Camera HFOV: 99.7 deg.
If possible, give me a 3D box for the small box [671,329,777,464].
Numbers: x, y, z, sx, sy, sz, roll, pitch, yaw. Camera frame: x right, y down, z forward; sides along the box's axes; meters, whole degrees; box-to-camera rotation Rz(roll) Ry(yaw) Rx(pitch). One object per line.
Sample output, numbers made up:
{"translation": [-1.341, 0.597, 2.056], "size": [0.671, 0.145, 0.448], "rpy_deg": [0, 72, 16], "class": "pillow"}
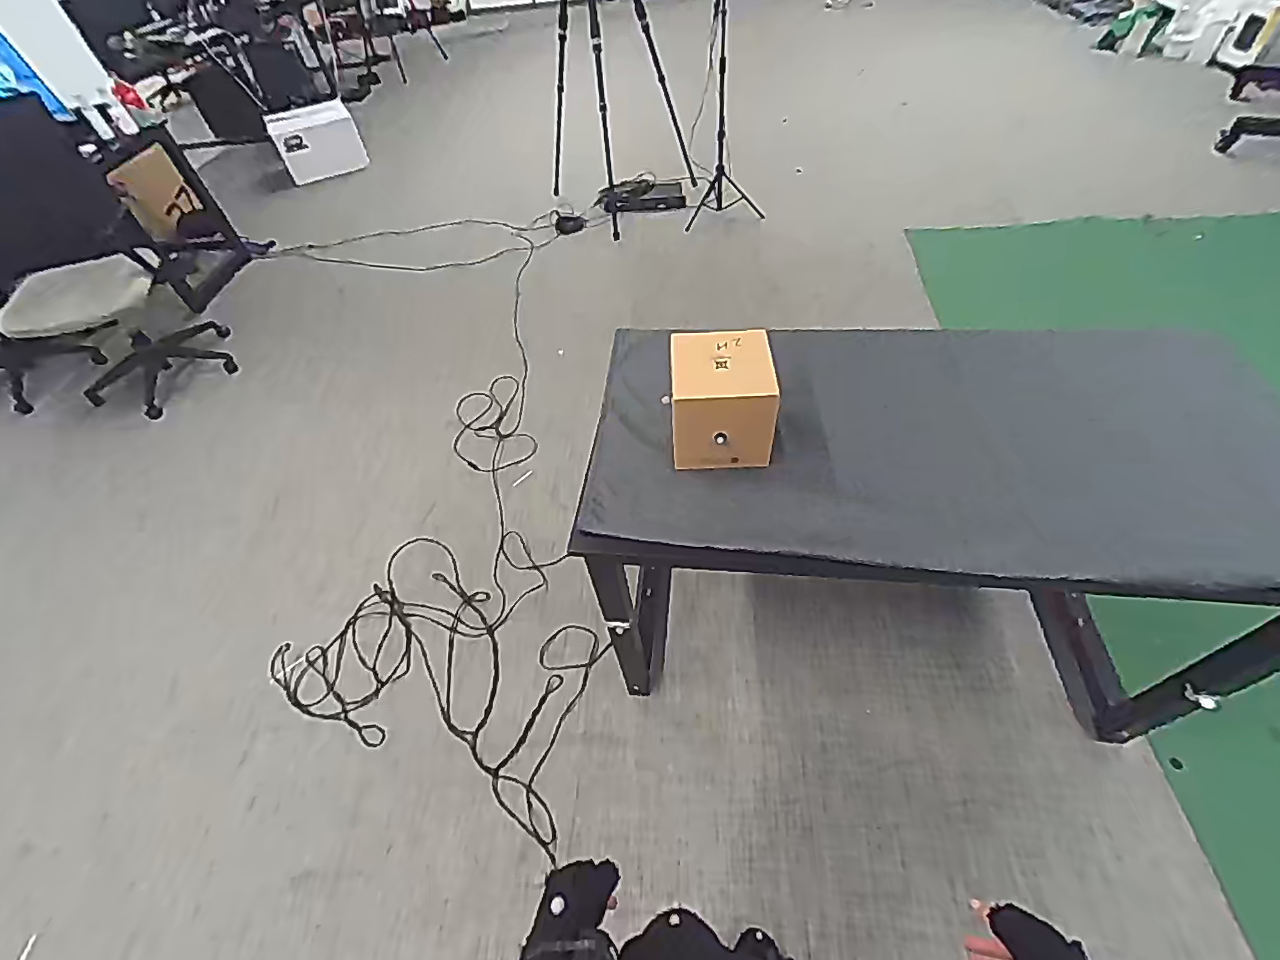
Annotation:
{"translation": [0.140, -0.139, 0.944], "size": [0.168, 0.176, 0.179], "rpy_deg": [-2, 49, 4], "class": "small box"}
